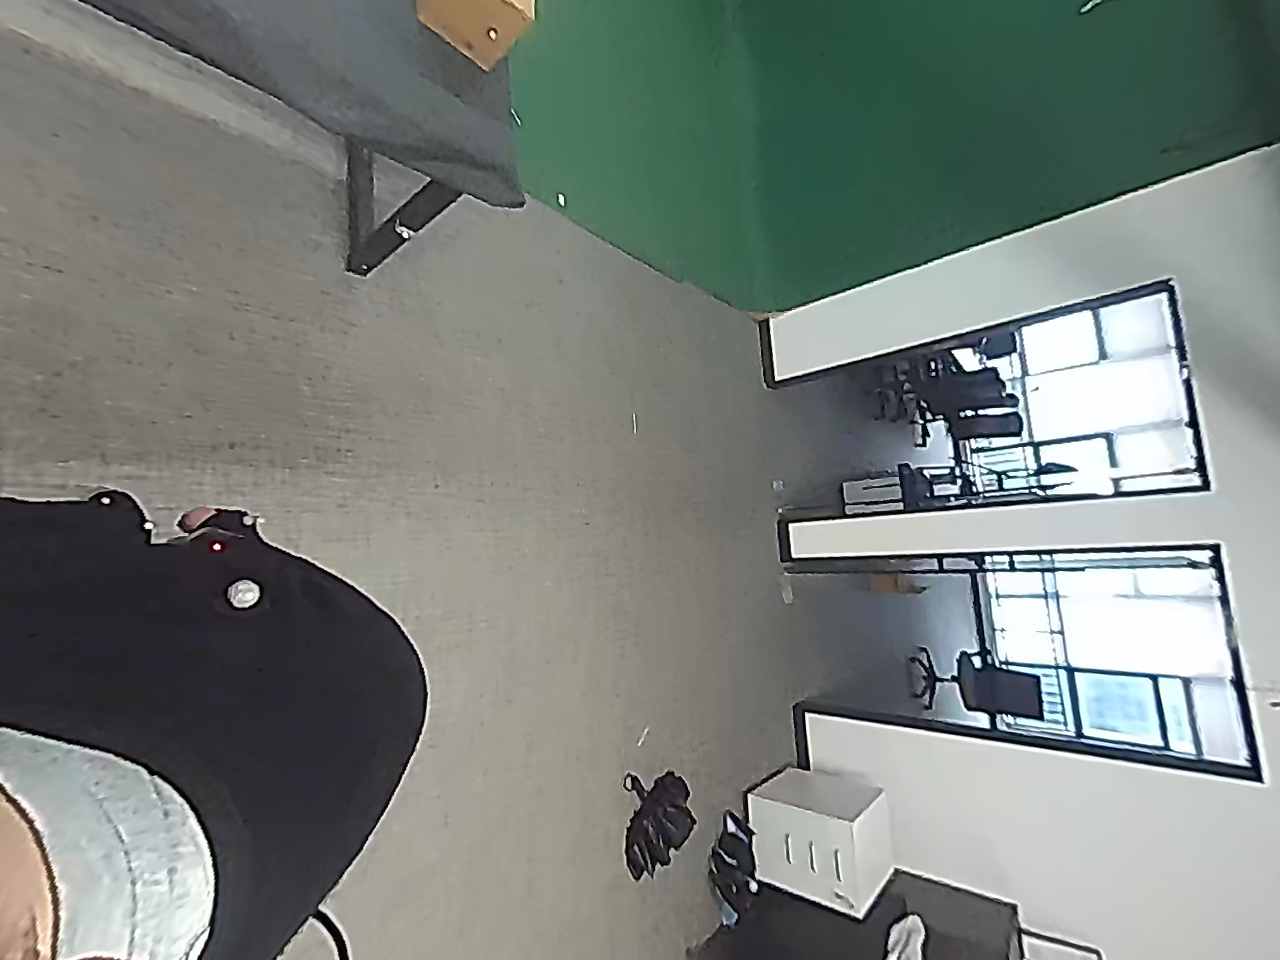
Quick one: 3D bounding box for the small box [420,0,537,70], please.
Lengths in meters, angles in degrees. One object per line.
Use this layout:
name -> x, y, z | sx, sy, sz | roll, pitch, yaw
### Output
small box -> -0.324, -0.985, 1.081 | 0.168, 0.176, 0.179 | 8, 75, -50
